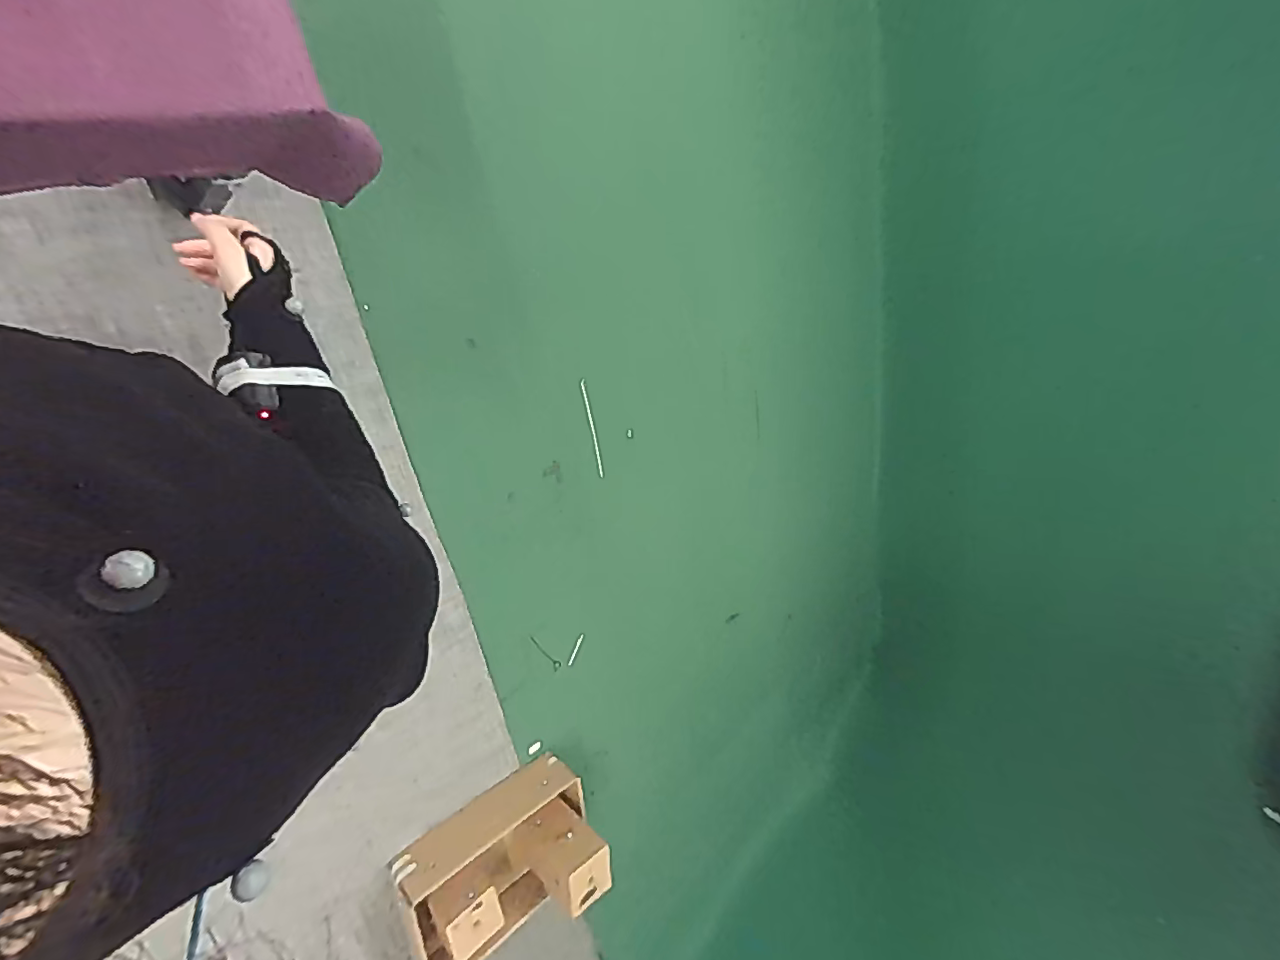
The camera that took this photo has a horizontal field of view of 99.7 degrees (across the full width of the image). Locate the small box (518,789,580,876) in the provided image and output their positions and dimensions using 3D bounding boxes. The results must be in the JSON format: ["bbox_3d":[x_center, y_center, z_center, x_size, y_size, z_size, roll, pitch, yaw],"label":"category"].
[{"bbox_3d":[-0.325,1.259,1.953,0.168,0.176,0.179,-17,110,-40],"label":"small box"}]

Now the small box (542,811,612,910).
[{"bbox_3d":[-0.214,1.281,1.834,0.168,0.176,0.179,-15,108,-41],"label":"small box"}]
